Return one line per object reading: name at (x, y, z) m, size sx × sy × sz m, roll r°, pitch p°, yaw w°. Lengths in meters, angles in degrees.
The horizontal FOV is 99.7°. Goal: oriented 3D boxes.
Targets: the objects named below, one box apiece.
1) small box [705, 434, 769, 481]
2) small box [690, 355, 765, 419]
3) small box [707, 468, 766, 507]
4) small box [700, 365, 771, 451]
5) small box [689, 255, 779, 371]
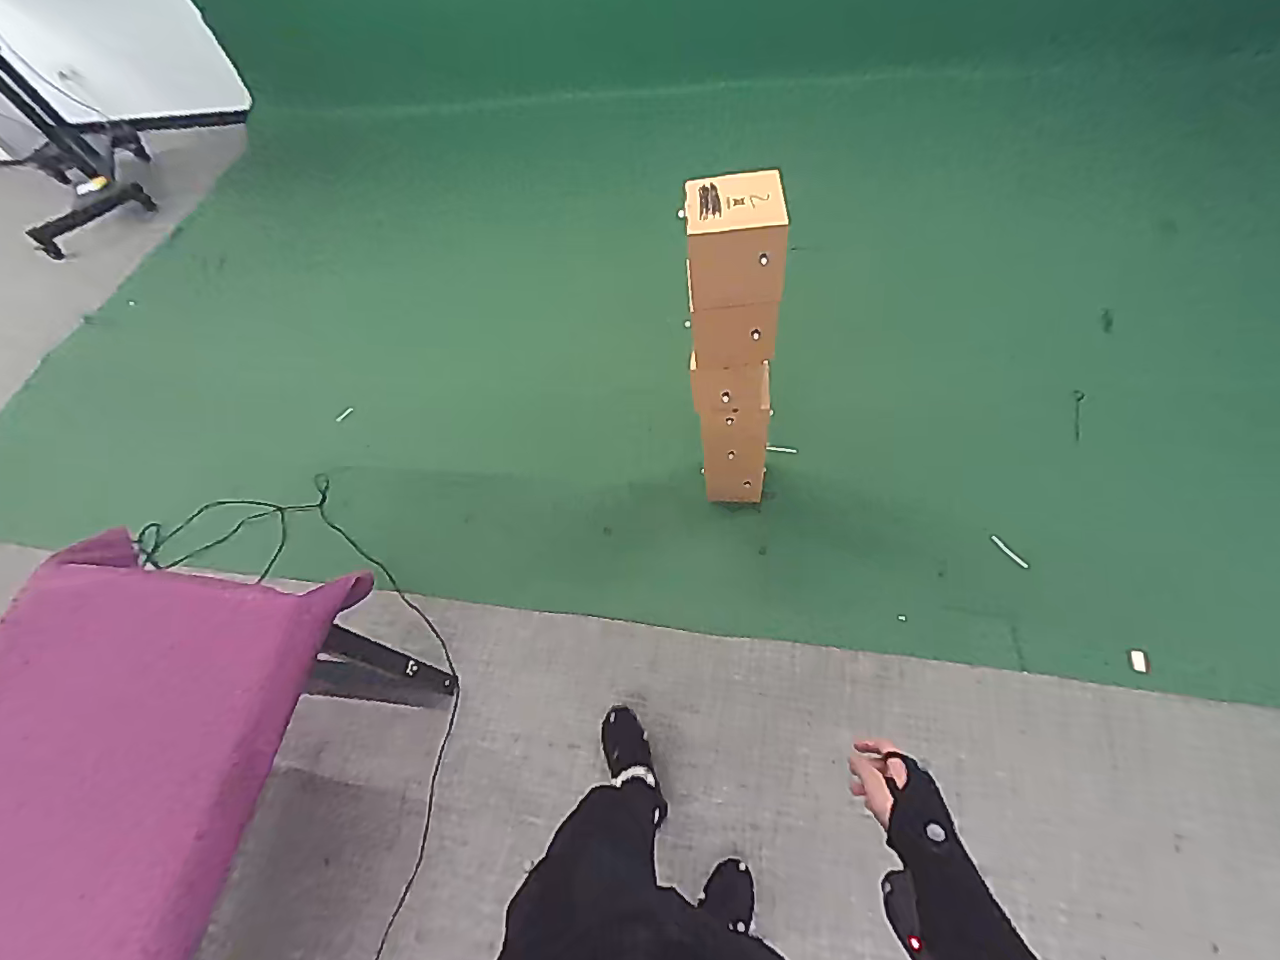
small box at (0.285, -0.108, 1.591) m, size 0.179 × 0.176 × 0.168 m, roll 2°, pitch 60°, yaw 11°
small box at (0.217, -0.265, 1.312) m, size 0.168 × 0.176 × 0.179 m, roll 3°, pitch 61°, yaw 11°
small box at (0.306, -0.025, 1.728) m, size 0.179 × 0.176 × 0.168 m, roll 1°, pitch 59°, yaw 9°
small box at (0.257, -0.190, 1.453) m, size 0.179 × 0.176 × 0.168 m, roll 0°, pitch 60°, yaw 9°
small box at (0.200, -0.358, 1.178) m, size 0.179 × 0.176 × 0.168 m, roll -4°, pitch 58°, yaw 8°
